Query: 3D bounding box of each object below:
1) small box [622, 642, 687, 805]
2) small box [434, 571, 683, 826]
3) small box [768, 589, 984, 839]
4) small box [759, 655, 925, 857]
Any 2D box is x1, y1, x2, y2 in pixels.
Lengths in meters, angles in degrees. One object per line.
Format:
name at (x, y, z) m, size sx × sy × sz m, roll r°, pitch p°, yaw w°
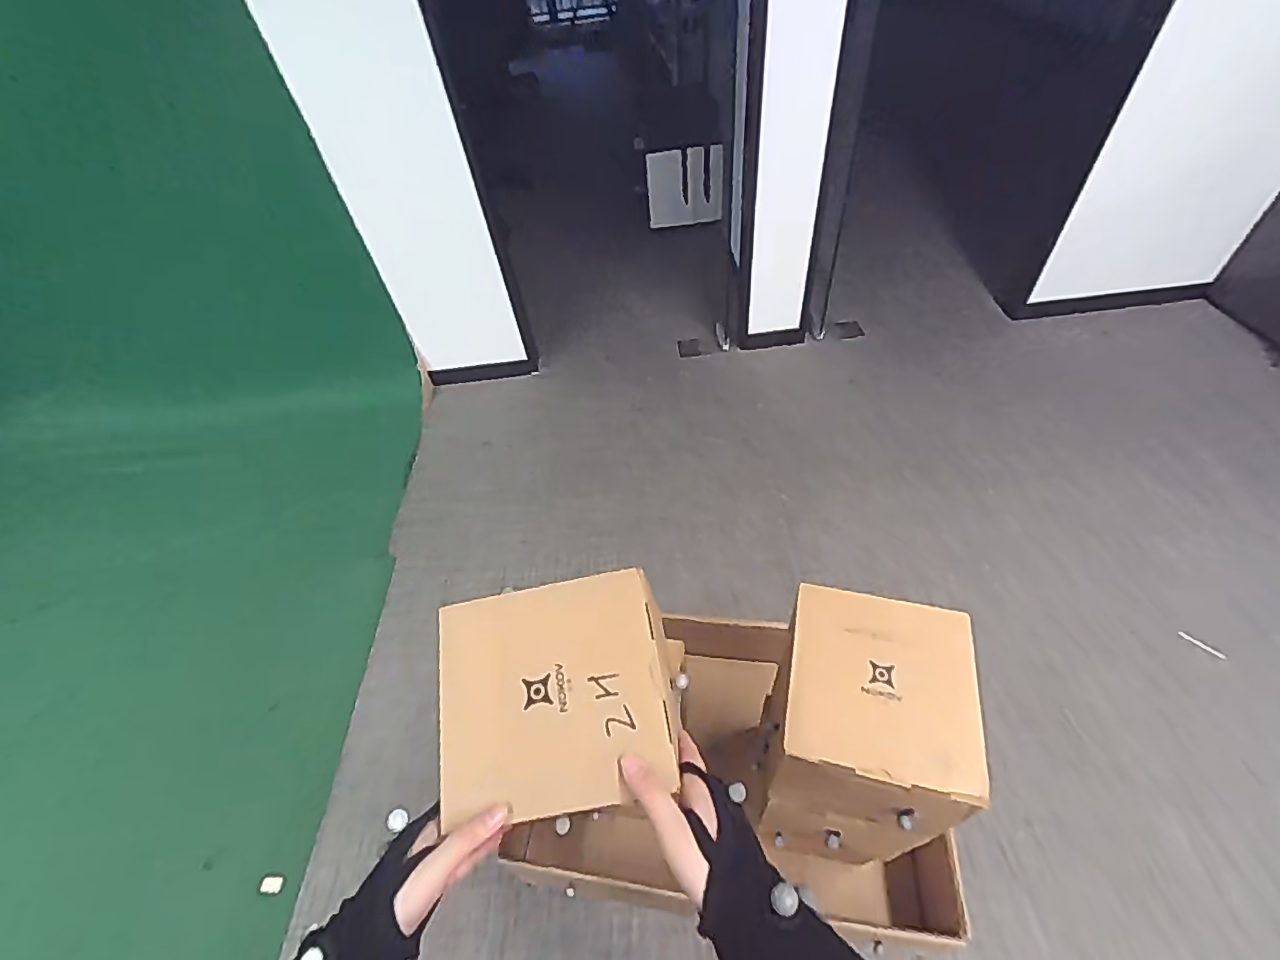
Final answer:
small box at (-0.031, 0.330, 0.741) m, size 0.179 × 0.176 × 0.168 m, roll 2°, pitch 49°, yaw 8°
small box at (-0.064, 0.197, 0.491) m, size 0.179 × 0.176 × 0.168 m, roll -12°, pitch 64°, yaw 3°
small box at (0.228, 0.243, 0.559) m, size 0.168 × 0.176 × 0.179 m, roll 8°, pitch 50°, yaw 14°
small box at (0.246, 0.349, 0.682) m, size 0.168 × 0.176 × 0.179 m, roll 8°, pitch 51°, yaw 14°
